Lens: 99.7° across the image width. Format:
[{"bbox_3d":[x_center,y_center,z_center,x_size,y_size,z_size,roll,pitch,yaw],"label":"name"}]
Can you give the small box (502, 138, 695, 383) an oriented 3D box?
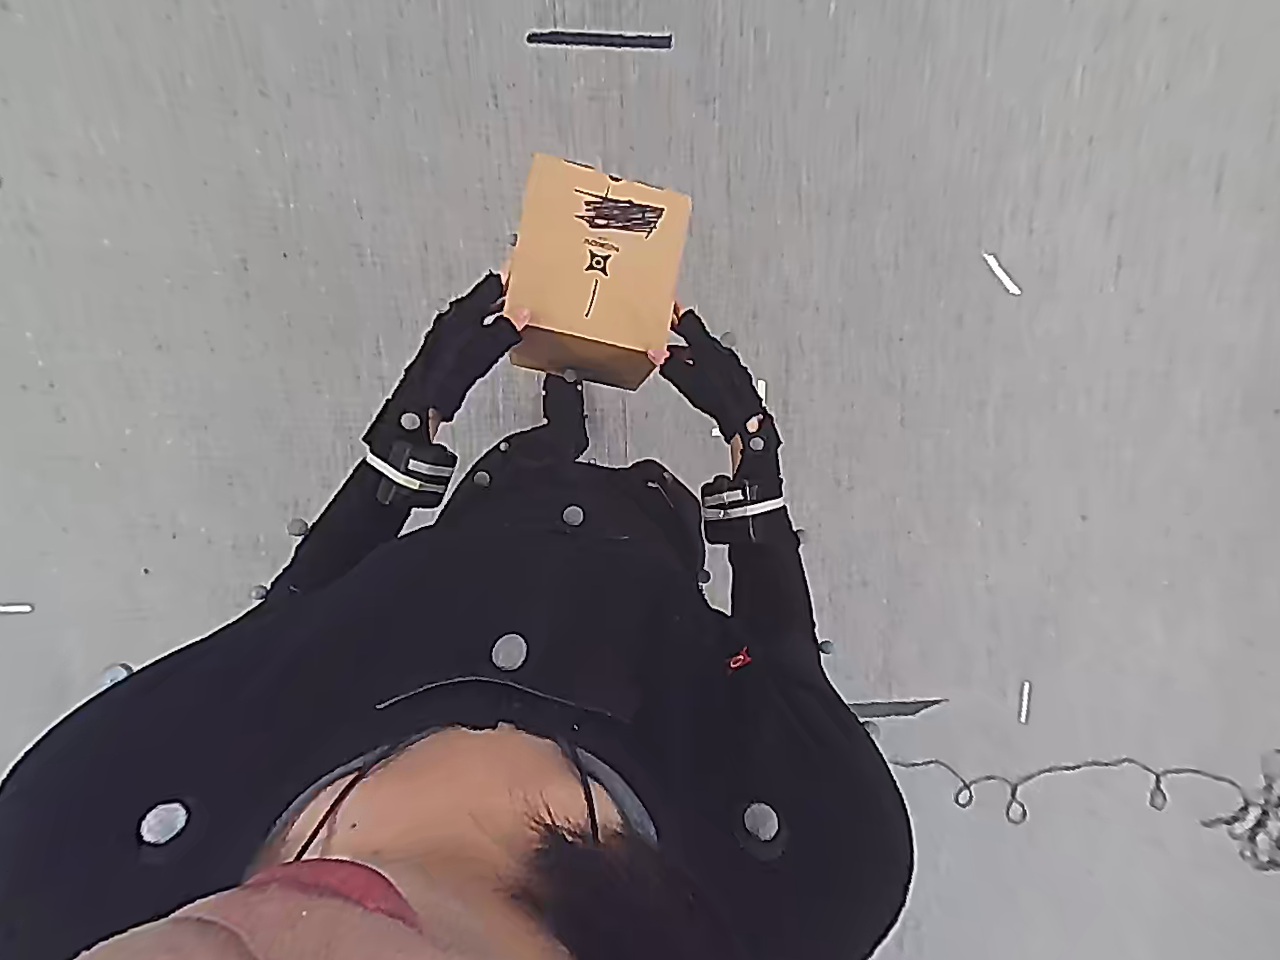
[{"bbox_3d":[-0.052,-0.225,0.603,0.168,0.176,0.179,11,86,-9],"label":"small box"}]
